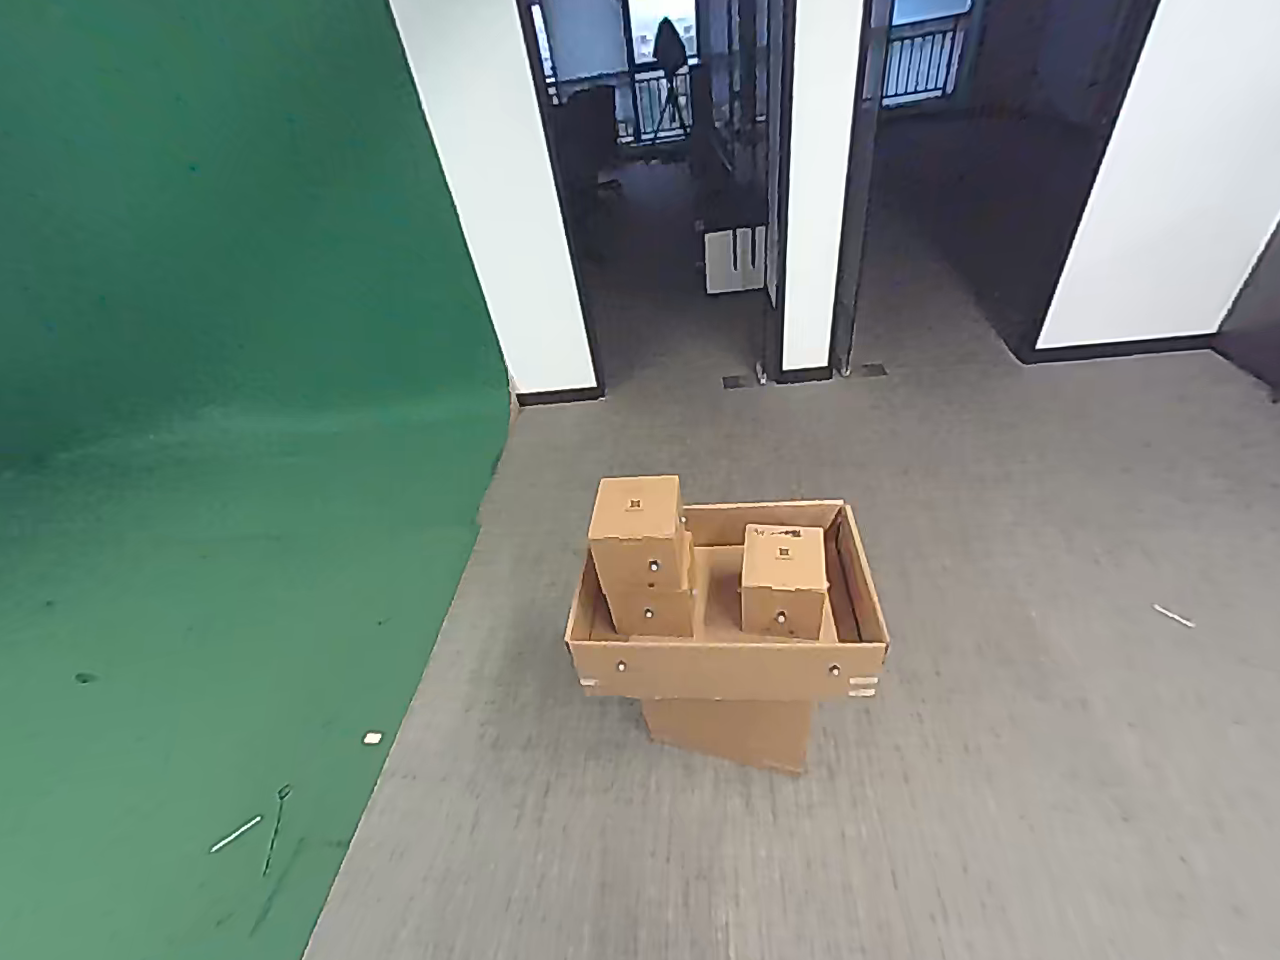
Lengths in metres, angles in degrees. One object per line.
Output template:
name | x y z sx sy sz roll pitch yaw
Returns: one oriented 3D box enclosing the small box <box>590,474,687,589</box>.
small box | 0.006 0.110 1.115 0.168 0.176 0.179 -3 40 10
